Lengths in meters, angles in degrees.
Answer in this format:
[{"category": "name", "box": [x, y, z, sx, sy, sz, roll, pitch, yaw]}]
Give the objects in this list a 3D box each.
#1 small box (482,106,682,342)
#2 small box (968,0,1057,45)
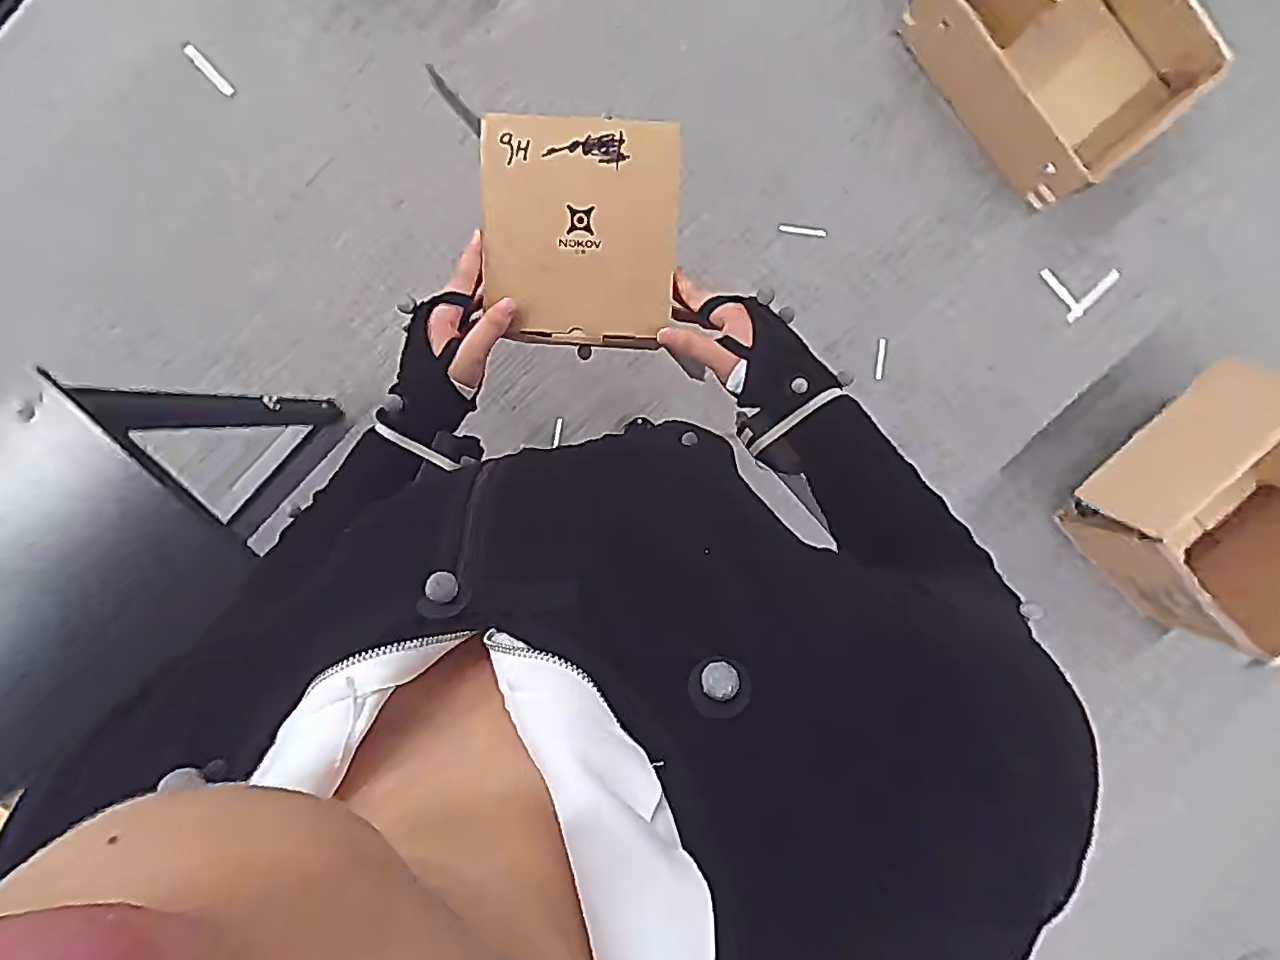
[{"category": "small box", "box": [-0.051, -0.231, 0.535, 0.168, 0.176, 0.179, 3, 102, -1]}, {"category": "small box", "box": [0.893, -1.166, 1.238, 0.168, 0.176, 0.179, -42, 97, 6]}]
